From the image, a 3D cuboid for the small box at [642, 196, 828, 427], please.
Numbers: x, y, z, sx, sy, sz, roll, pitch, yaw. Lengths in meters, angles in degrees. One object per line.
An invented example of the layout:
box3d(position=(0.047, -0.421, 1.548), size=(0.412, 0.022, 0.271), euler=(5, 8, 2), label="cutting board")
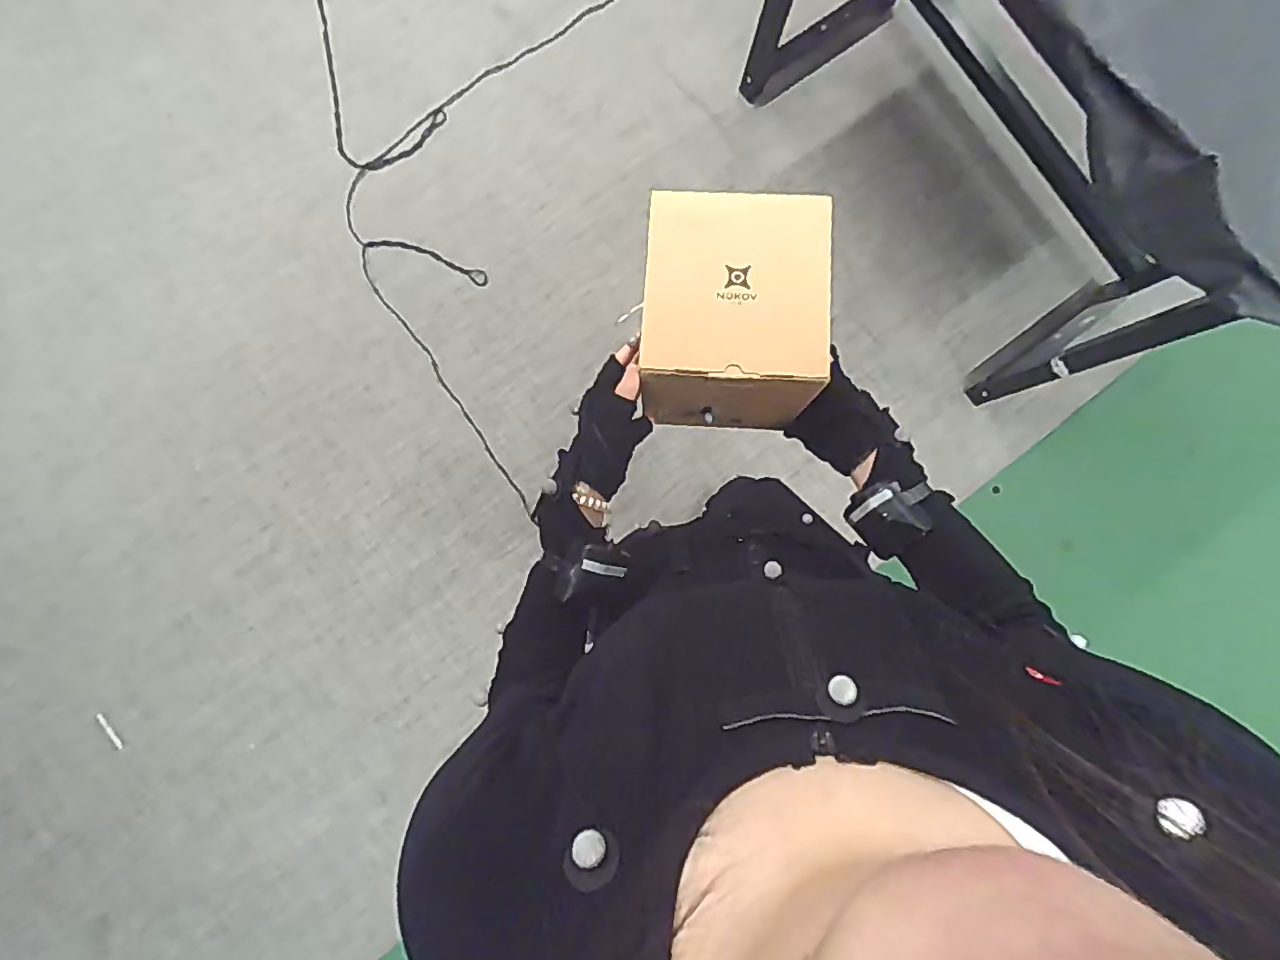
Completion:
box3d(position=(0.090, -0.165, 0.572), size=(0.168, 0.176, 0.179), euler=(3, 82, 2), label="small box")
